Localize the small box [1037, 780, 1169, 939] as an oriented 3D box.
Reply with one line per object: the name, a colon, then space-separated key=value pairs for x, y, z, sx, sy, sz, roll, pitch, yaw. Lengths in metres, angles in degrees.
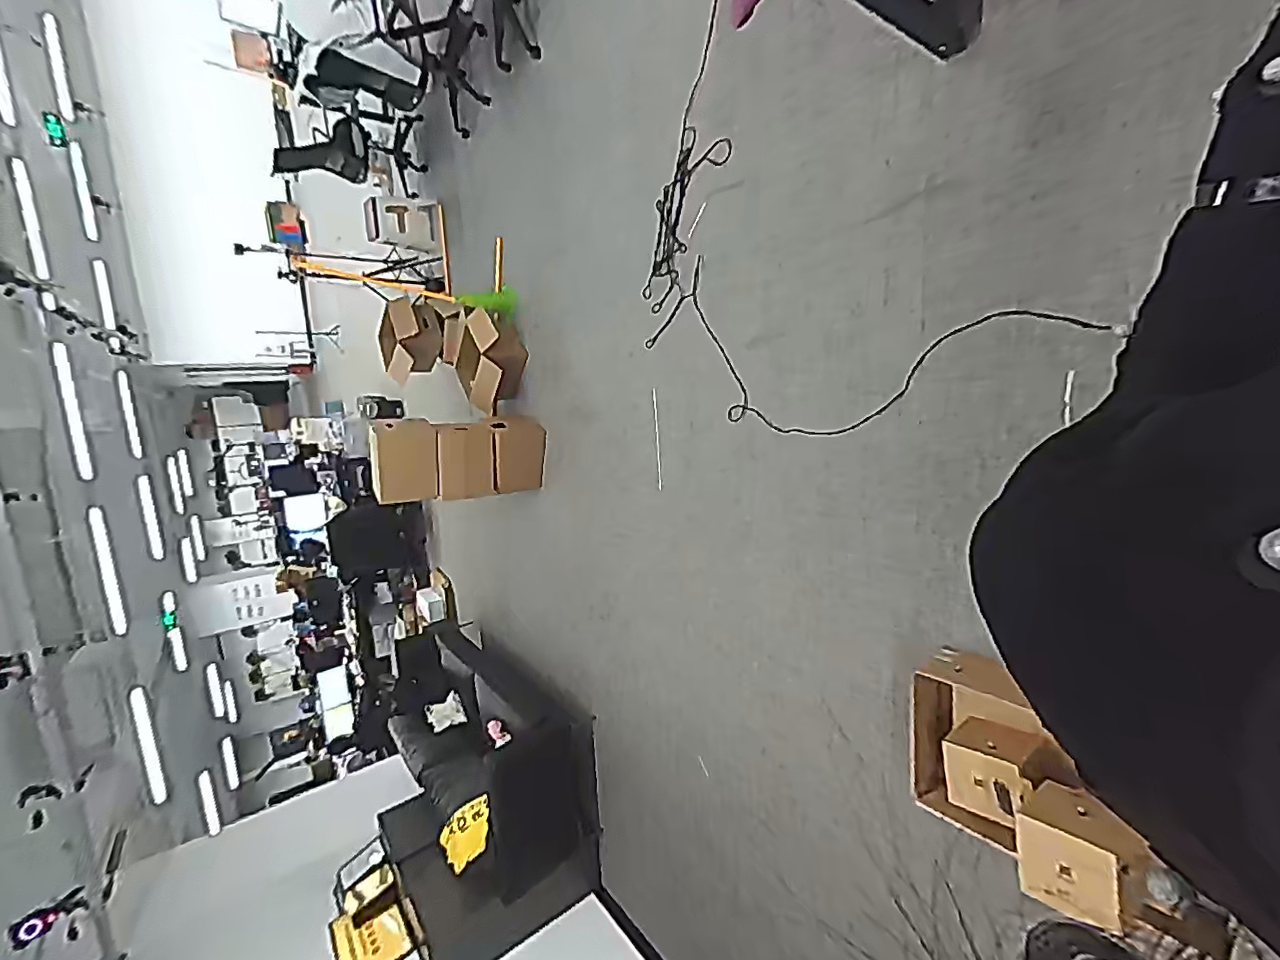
small box: x=0.934 y=0.747 z=1.092 sx=0.168 sy=0.176 sz=0.179 roll=-1 pitch=96 yaw=58

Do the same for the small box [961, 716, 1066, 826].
small box: x=0.943 y=0.720 z=1.359 sx=0.179 sy=0.176 sz=0.168 roll=-4 pitch=94 yaw=55
